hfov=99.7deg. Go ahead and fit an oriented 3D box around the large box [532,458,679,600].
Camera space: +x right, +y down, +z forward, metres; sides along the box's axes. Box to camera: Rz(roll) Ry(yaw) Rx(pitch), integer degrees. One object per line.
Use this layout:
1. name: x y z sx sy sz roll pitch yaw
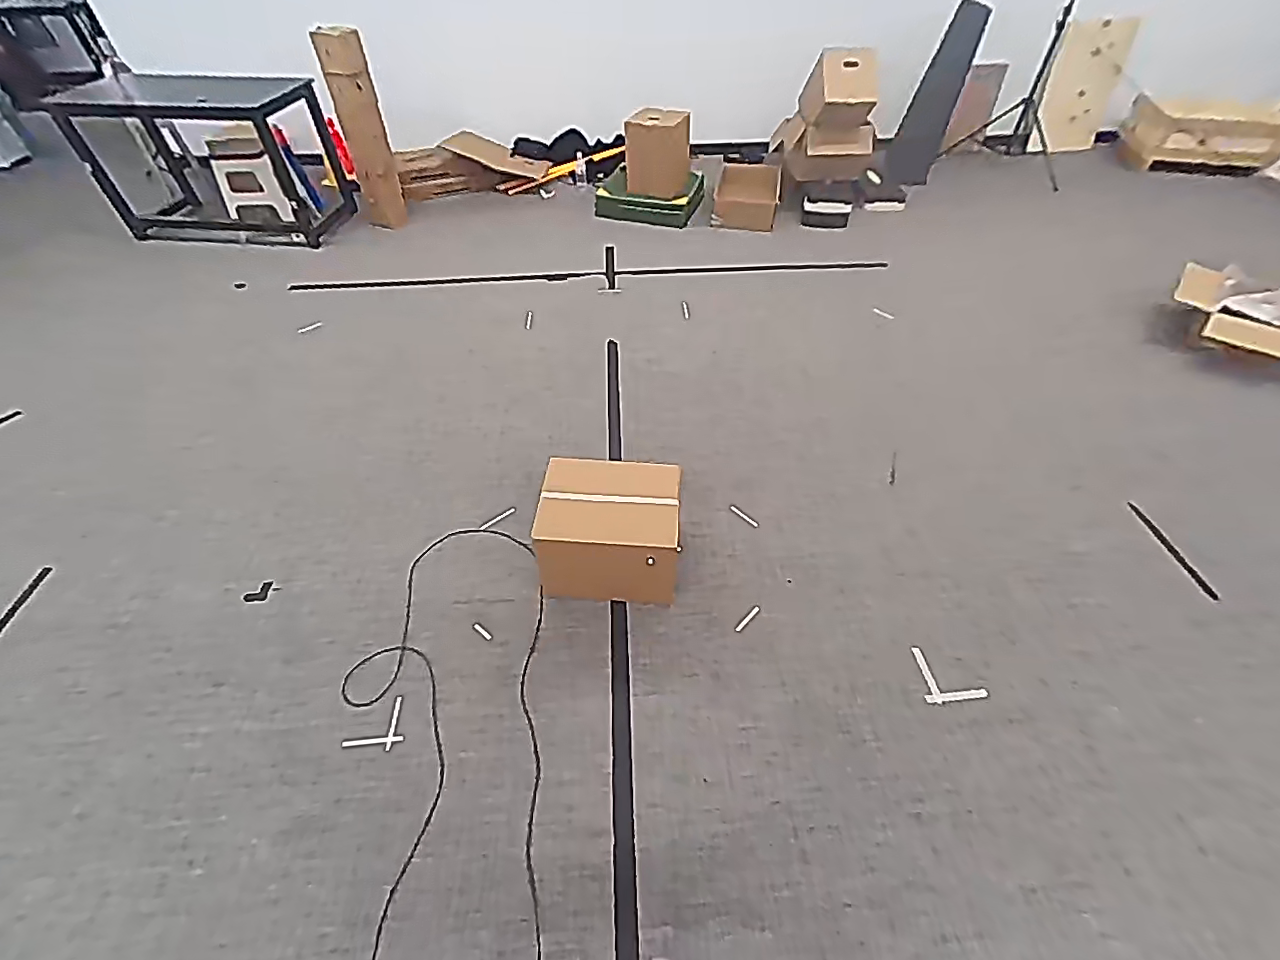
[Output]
1. large box: -0.089 0.155 1.670 0.408 0.320 0.320 4 48 2
